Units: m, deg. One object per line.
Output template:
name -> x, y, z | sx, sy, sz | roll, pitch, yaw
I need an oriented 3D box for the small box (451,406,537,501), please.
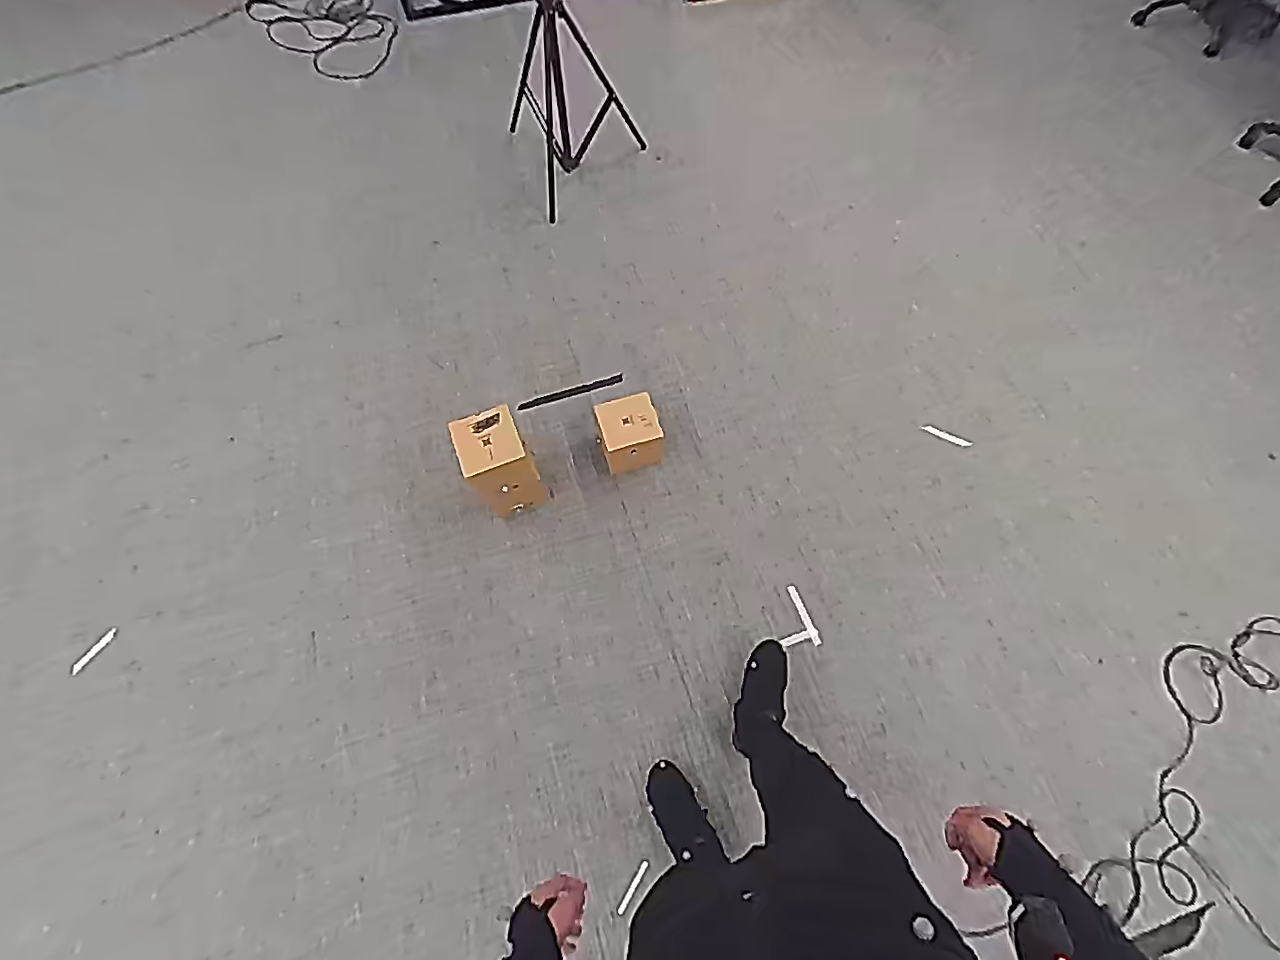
small box -> -0.394, -0.068, 1.480 | 0.168, 0.176, 0.179 | -21, 68, -8

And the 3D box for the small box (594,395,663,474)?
small box -> -0.033, -0.137, 1.687 | 0.179, 0.176, 0.168 | -15, 67, -7

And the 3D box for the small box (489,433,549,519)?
small box -> -0.388, -0.008, 1.632 | 0.168, 0.176, 0.179 | -22, 68, -9
